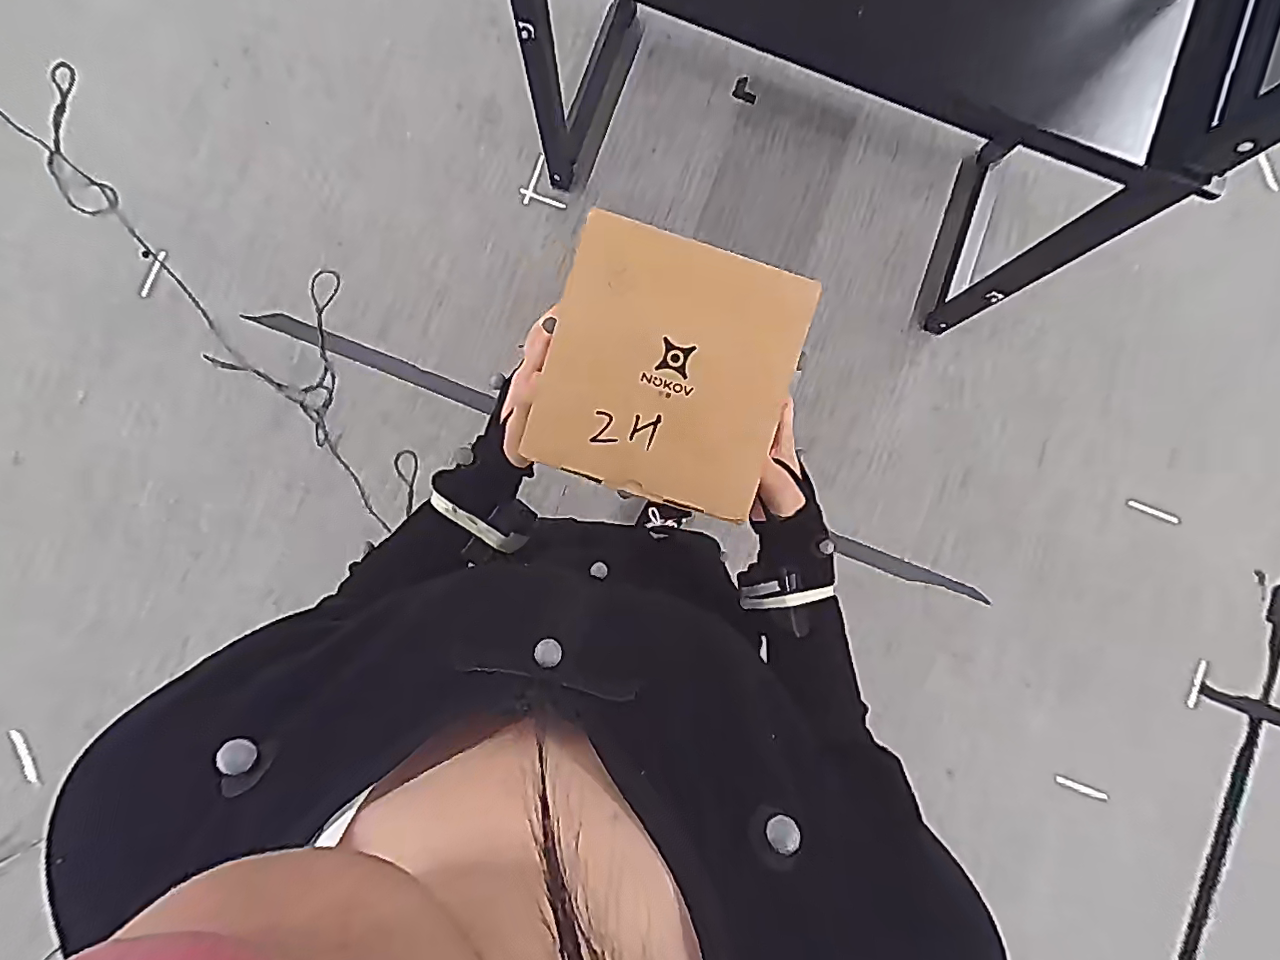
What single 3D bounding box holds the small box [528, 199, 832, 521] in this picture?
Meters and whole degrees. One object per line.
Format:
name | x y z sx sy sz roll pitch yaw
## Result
small box | 0.023 -0.083 0.439 0.168 0.176 0.179 17 94 -3
